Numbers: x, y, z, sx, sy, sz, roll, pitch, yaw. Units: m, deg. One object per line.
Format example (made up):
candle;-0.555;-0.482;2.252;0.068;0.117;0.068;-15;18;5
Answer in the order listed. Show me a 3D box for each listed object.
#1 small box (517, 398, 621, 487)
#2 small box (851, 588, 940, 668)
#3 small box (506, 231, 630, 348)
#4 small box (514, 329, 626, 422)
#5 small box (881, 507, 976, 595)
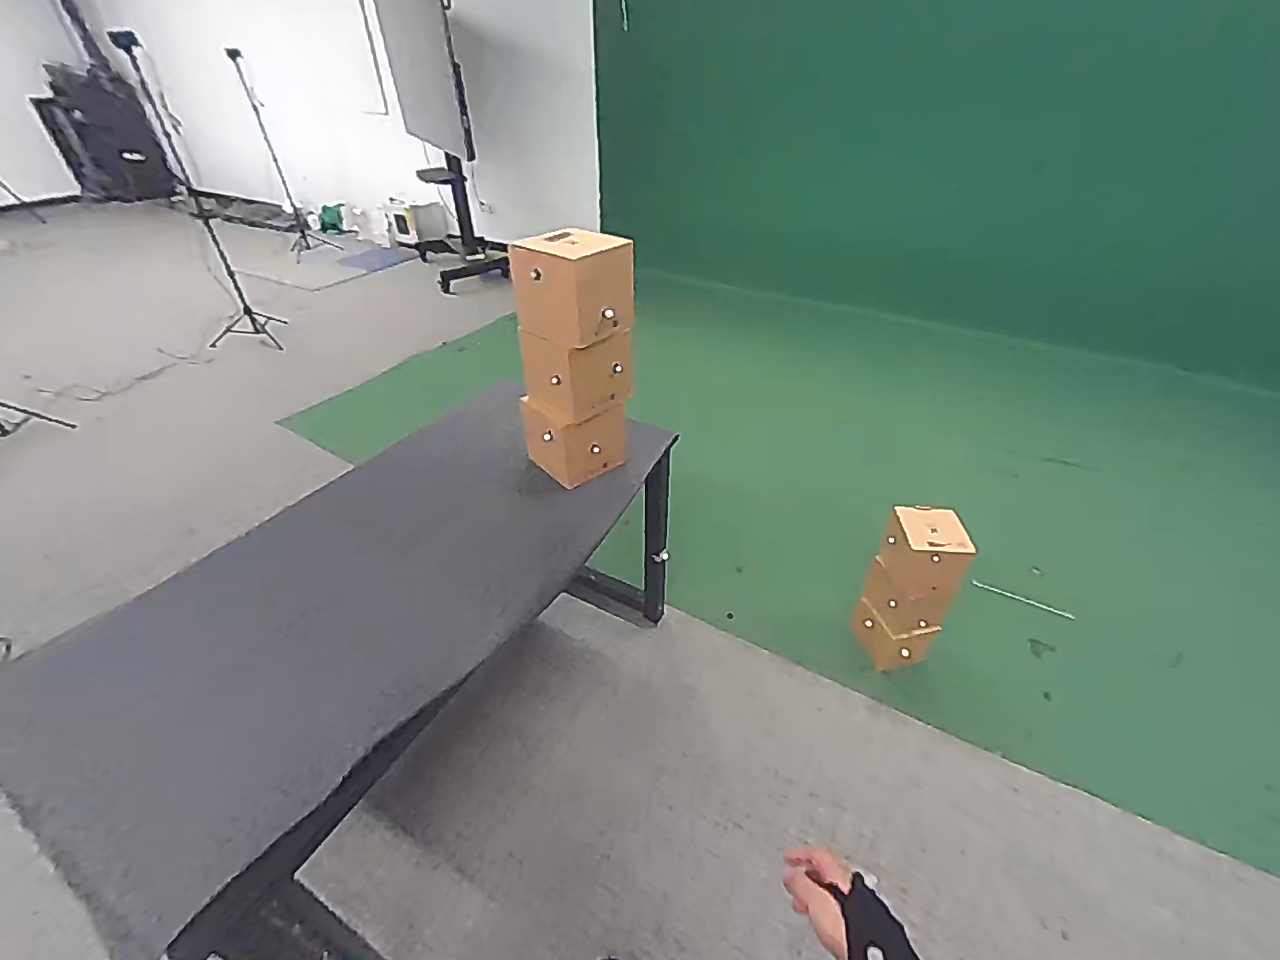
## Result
small box;-0.157;-0.105;1.245;0.168;0.176;0.179;-28;43;-31
small box;0.795;0.469;1.700;0.168;0.176;0.179;-9;38;-11
small box;-0.135;-0.374;1.059;0.179;0.176;0.168;25;44;30
small box;-0.142;-0.241;1.156;0.179;0.176;0.168;29;45;35
small box;0.796;0.196;1.515;0.168;0.176;0.179;2;38;4
